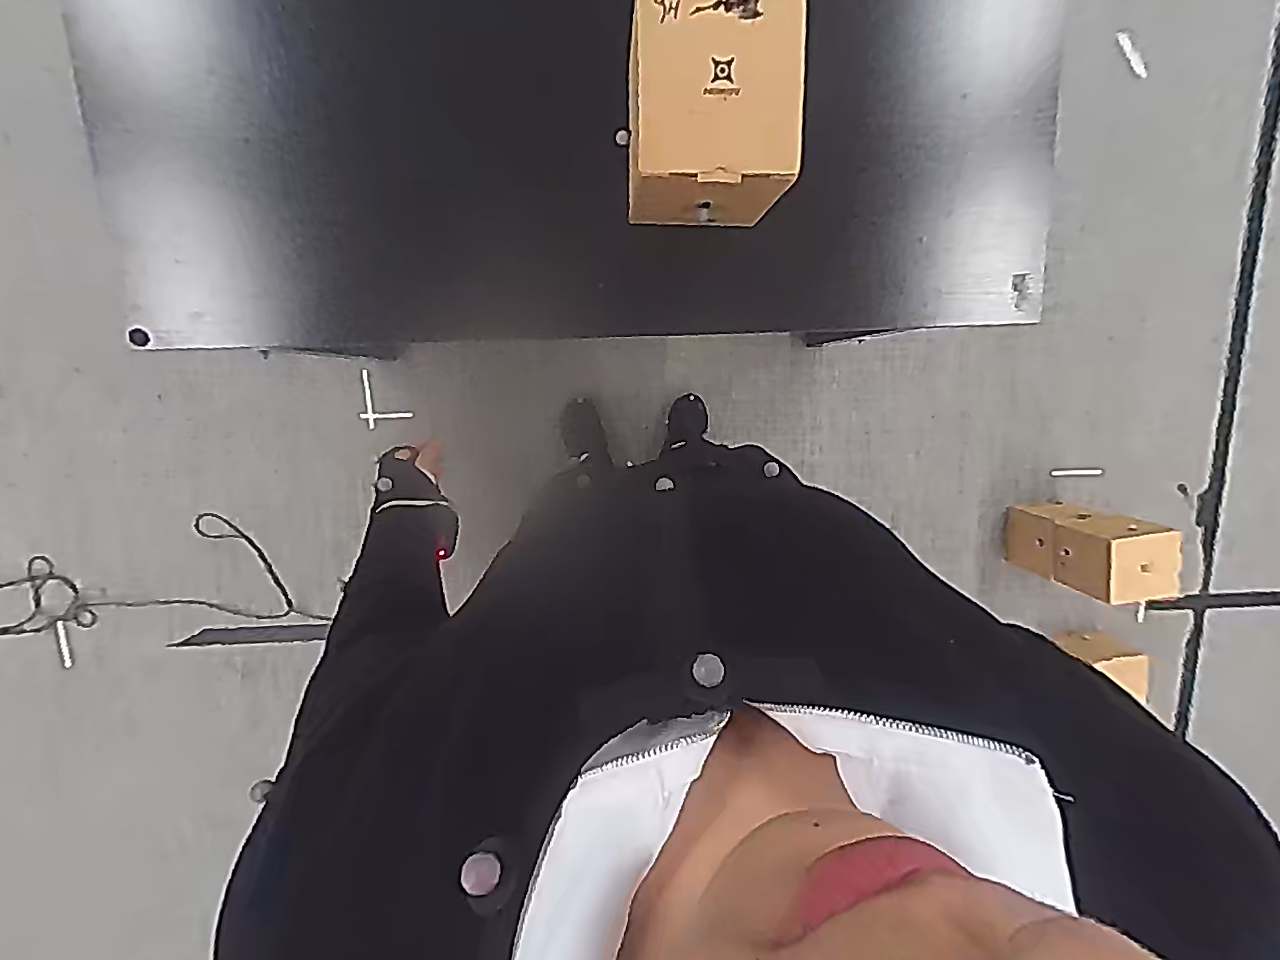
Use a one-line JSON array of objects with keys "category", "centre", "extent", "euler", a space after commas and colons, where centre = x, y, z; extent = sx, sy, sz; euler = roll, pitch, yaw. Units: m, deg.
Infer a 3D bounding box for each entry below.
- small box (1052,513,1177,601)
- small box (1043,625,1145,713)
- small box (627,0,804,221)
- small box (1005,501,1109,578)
[{"category": "small box", "centre": [1.189, 0.188, 1.364], "extent": [0.179, 0.176, 0.168], "euler": [-8, 99, -1]}, {"category": "small box", "centre": [1.341, 0.557, 1.609], "extent": [0.168, 0.176, 0.179], "euler": [-8, 101, -2]}, {"category": "small box", "centre": [0.072, -0.406, 0.609], "extent": [0.168, 0.176, 0.179], "euler": [-1, 100, -4]}, {"category": "small box", "centre": [1.166, 0.160, 1.523], "extent": [0.168, 0.176, 0.179], "euler": [-5, 101, -3]}]
